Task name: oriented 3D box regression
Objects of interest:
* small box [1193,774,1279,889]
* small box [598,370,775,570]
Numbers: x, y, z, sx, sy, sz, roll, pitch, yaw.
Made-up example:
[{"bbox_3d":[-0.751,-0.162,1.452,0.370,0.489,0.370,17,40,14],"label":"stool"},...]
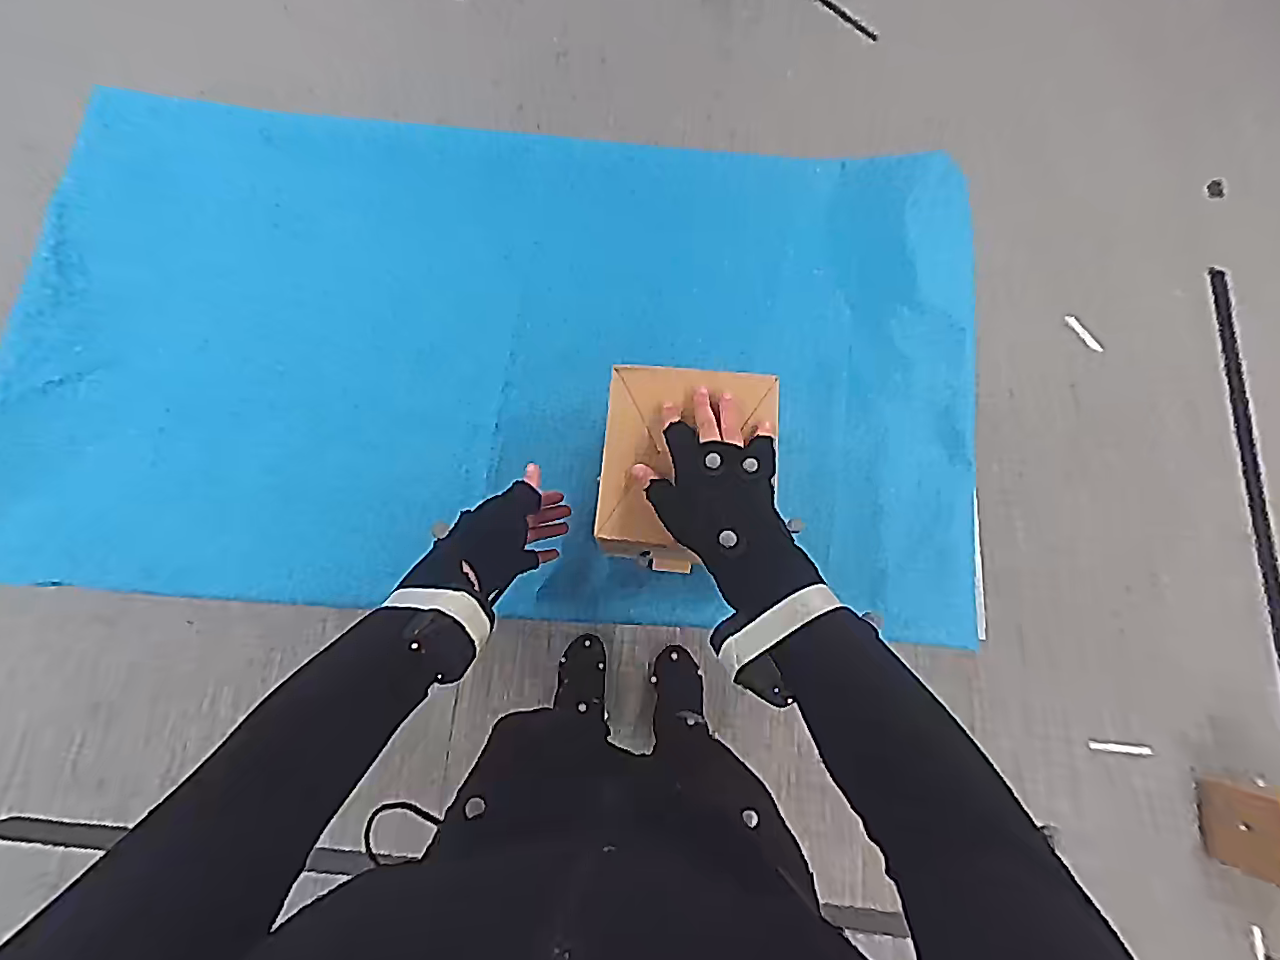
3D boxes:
[{"bbox_3d":[1.388,0.777,1.192,0.168,0.176,0.179,7,76,0],"label":"small box"},{"bbox_3d":[0.046,-0.002,0.592,0.168,0.176,0.179,4,76,0],"label":"small box"}]
